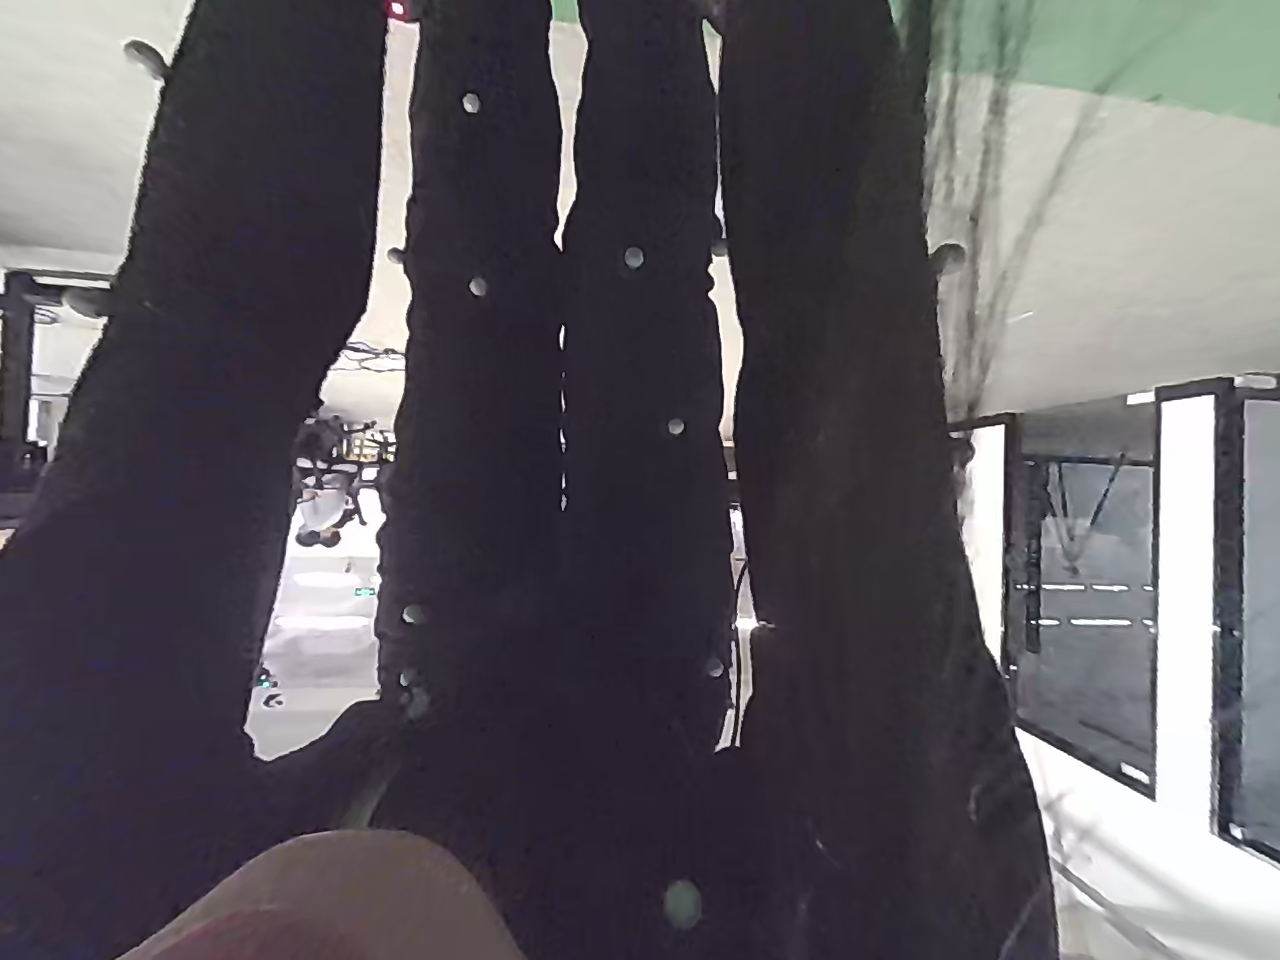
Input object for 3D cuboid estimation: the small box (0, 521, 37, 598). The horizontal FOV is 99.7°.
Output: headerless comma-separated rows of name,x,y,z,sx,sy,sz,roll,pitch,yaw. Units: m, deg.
small box,-1.526,0.179,1.214,0.179,0.176,0.168,3,179,-8
